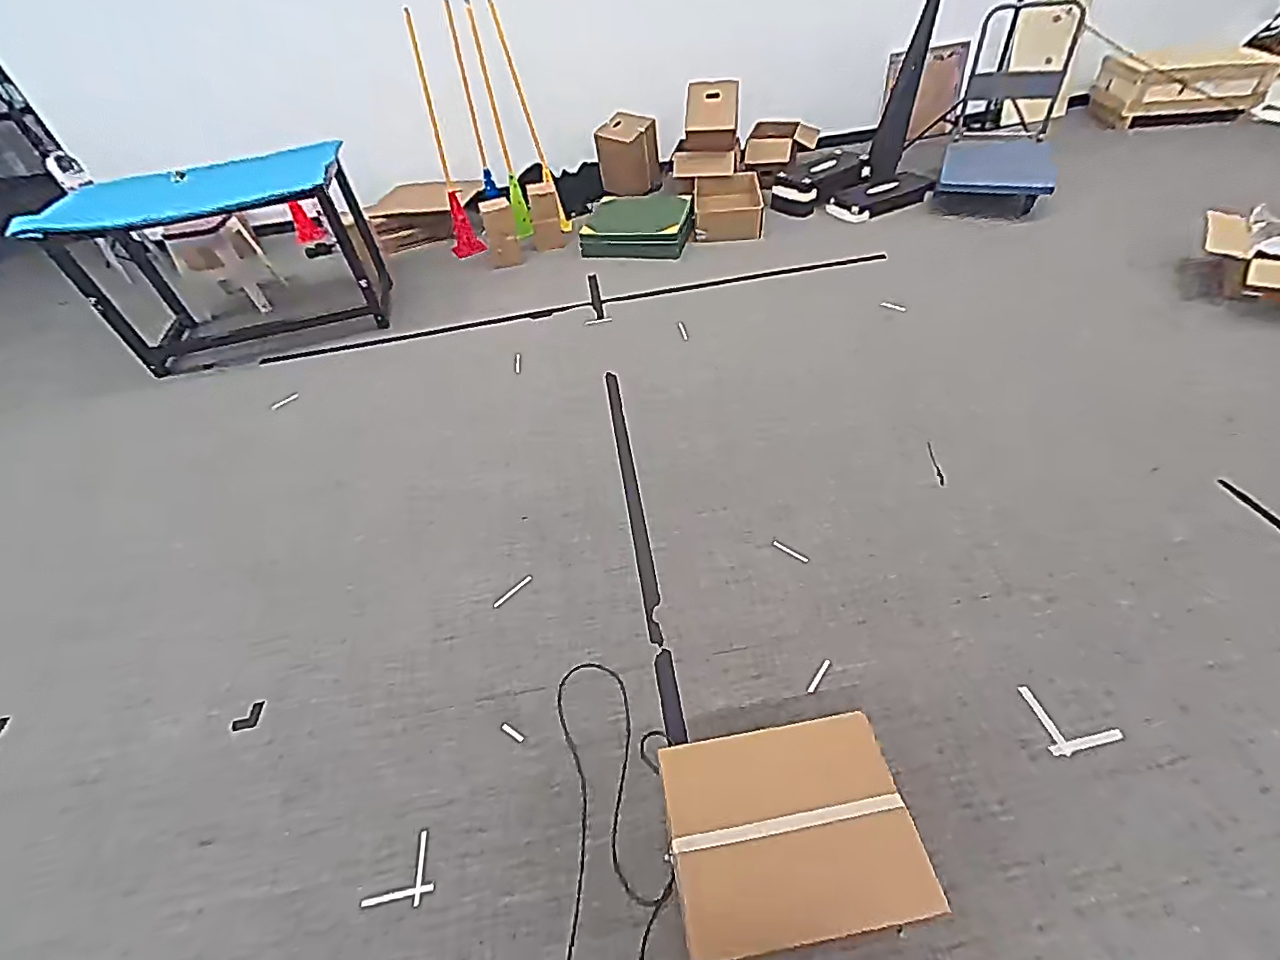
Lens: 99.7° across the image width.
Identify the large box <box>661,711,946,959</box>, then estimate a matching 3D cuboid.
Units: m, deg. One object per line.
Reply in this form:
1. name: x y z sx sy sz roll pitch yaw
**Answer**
1. large box: 0.270 0.687 1.033 0.408 0.320 0.320 -10 46 -3
